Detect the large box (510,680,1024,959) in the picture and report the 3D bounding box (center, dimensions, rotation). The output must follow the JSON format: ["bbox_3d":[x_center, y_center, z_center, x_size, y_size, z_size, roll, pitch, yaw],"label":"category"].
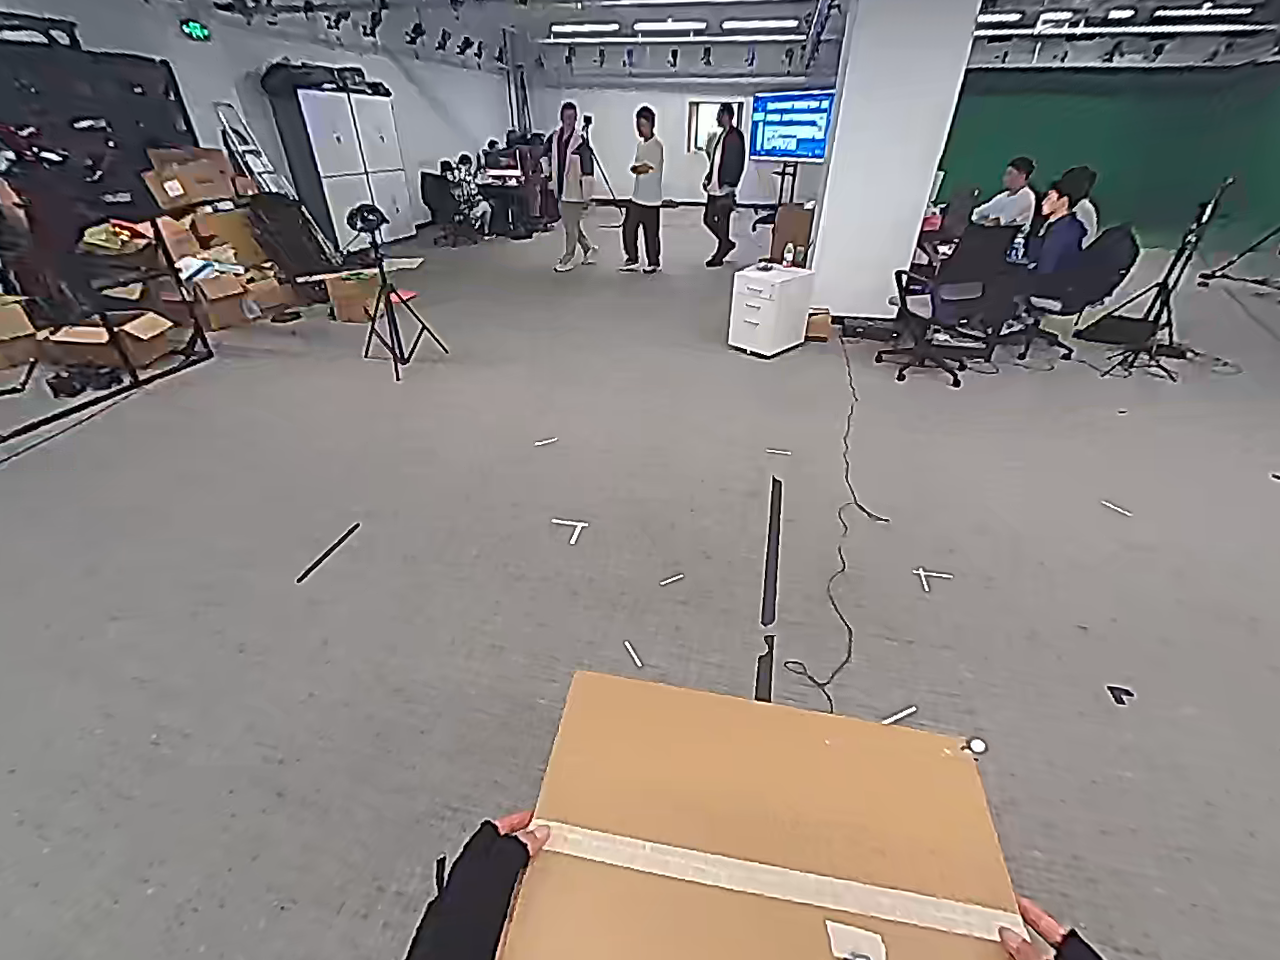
[{"bbox_3d":[0.099,0.452,0.550,0.408,0.320,0.320,9,41,5],"label":"large box"}]
